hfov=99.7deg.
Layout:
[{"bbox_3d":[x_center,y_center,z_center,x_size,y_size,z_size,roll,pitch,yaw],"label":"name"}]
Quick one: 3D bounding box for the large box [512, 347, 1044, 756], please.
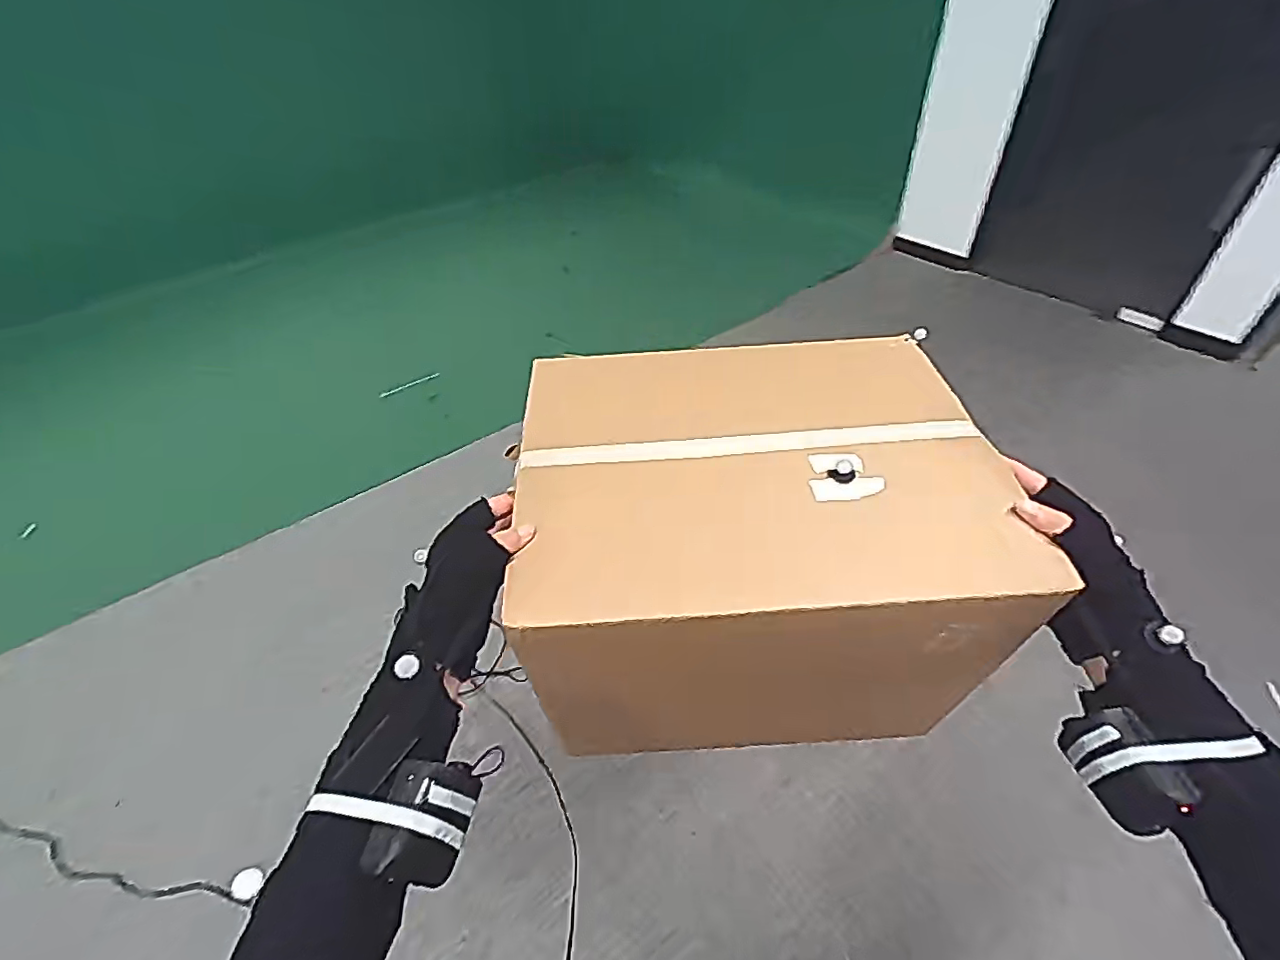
[{"bbox_3d":[0.095,0.080,0.600,0.408,0.320,0.320,-4,48,-2],"label":"large box"}]
